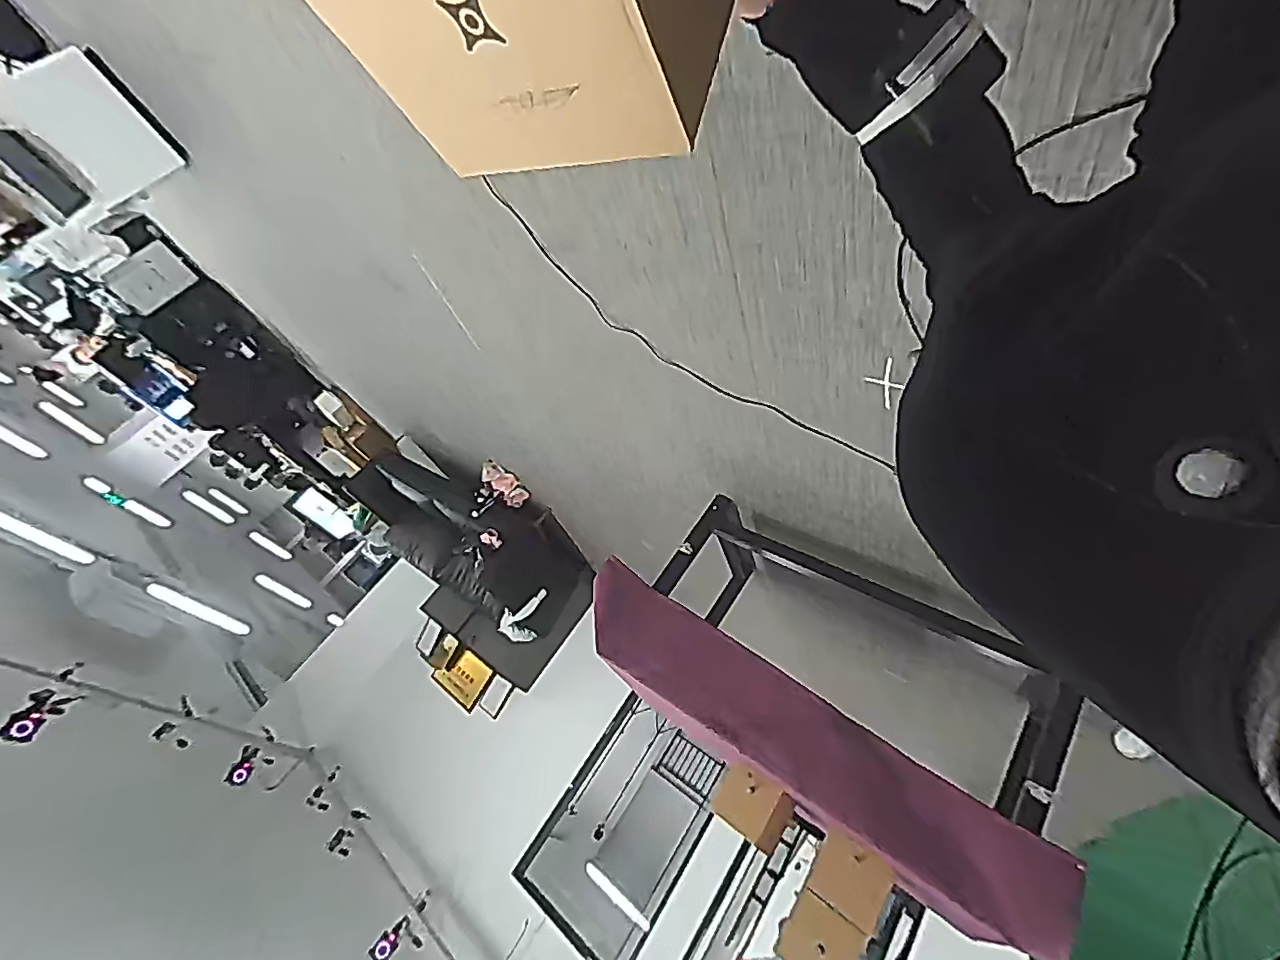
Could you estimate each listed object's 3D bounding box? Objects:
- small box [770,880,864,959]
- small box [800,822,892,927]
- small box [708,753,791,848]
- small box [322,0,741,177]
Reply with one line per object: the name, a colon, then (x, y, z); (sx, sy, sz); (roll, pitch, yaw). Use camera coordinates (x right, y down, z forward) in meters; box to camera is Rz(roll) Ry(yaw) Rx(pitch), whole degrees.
small box: (0.468, 1.189, 1.419); (0.179, 0.176, 0.168); (21, 153, 36)
small box: (0.564, 1.068, 1.476); (0.179, 0.176, 0.168); (22, 155, 37)
small box: (0.343, 0.977, 1.655); (0.168, 0.176, 0.179); (18, 151, 41)
small box: (-0.049, -0.289, 0.265); (0.168, 0.176, 0.179); (11, 169, 25)
